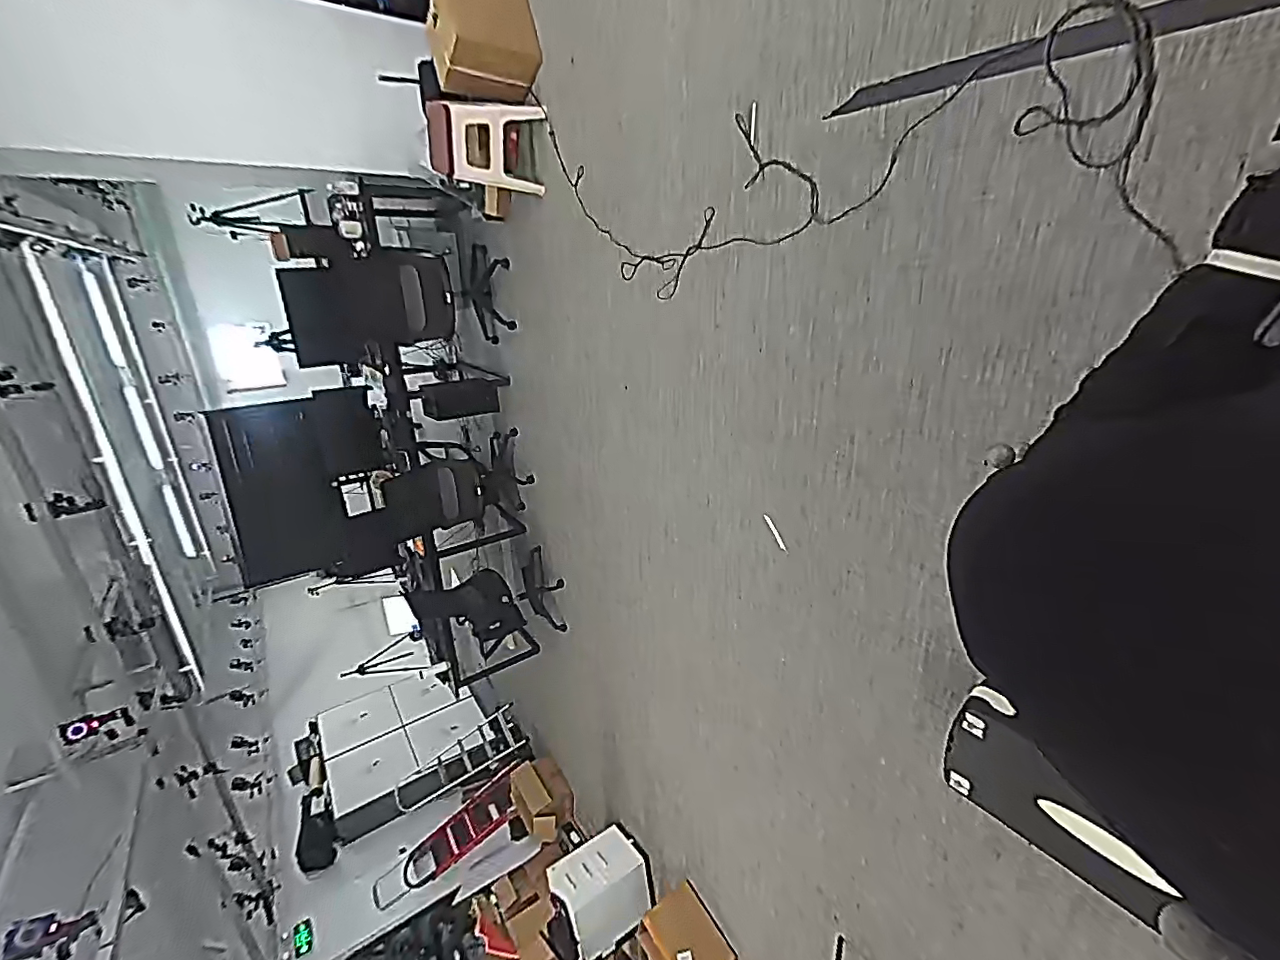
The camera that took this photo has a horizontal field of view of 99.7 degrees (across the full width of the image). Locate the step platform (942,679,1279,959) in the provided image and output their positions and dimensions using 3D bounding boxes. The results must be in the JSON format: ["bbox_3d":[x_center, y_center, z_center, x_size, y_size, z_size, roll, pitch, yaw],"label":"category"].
[{"bbox_3d":[1.048,0.762,1.194,0.684,0.204,0.286,25,124,50],"label":"step platform"}]
